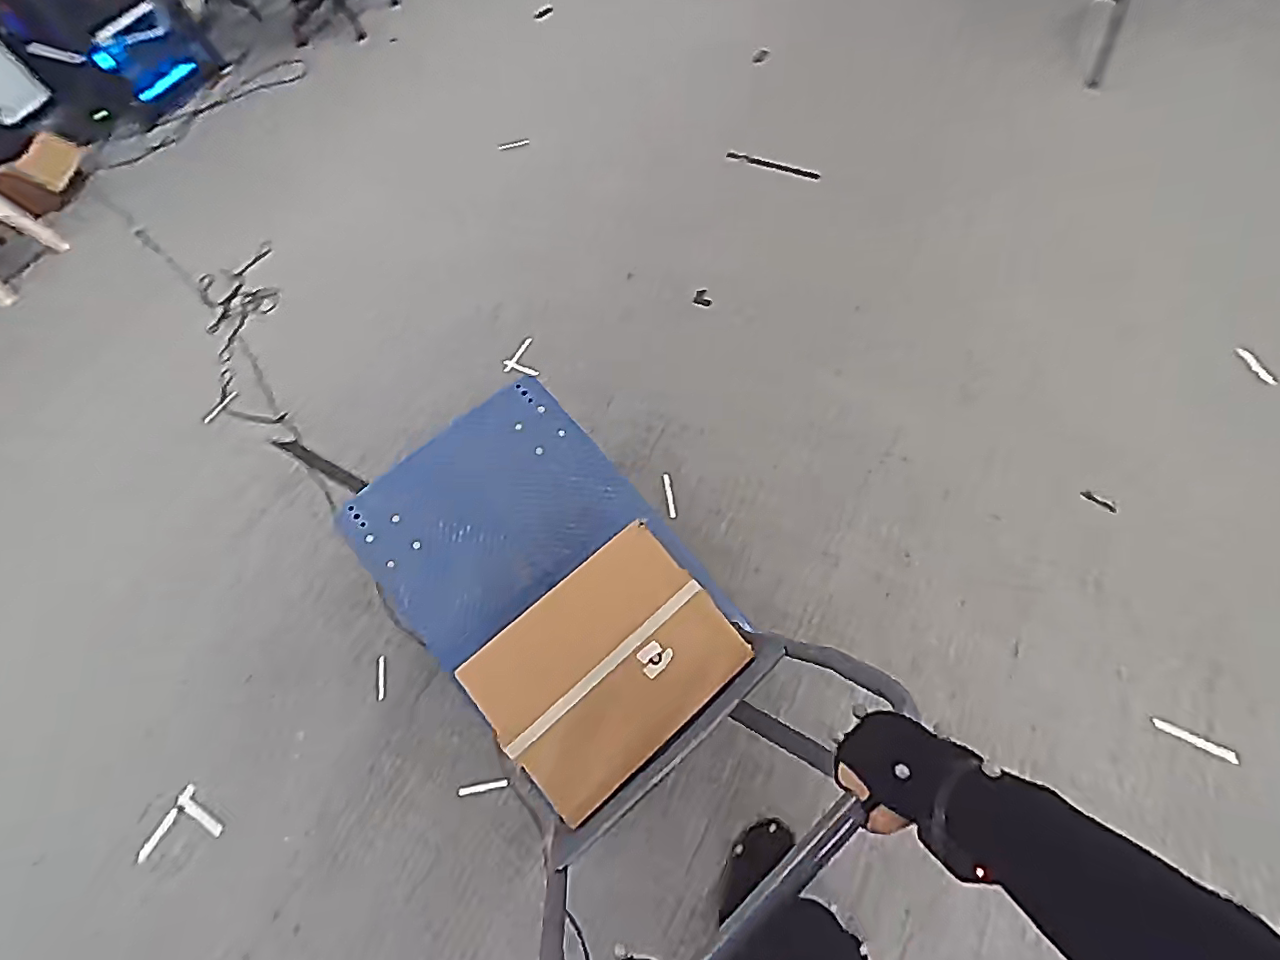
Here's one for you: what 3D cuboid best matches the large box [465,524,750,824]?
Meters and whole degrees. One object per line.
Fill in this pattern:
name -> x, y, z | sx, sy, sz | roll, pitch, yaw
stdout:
large box -> -0.061, 0.354, 1.066 | 0.408, 0.320, 0.320 | -40, 82, -13
